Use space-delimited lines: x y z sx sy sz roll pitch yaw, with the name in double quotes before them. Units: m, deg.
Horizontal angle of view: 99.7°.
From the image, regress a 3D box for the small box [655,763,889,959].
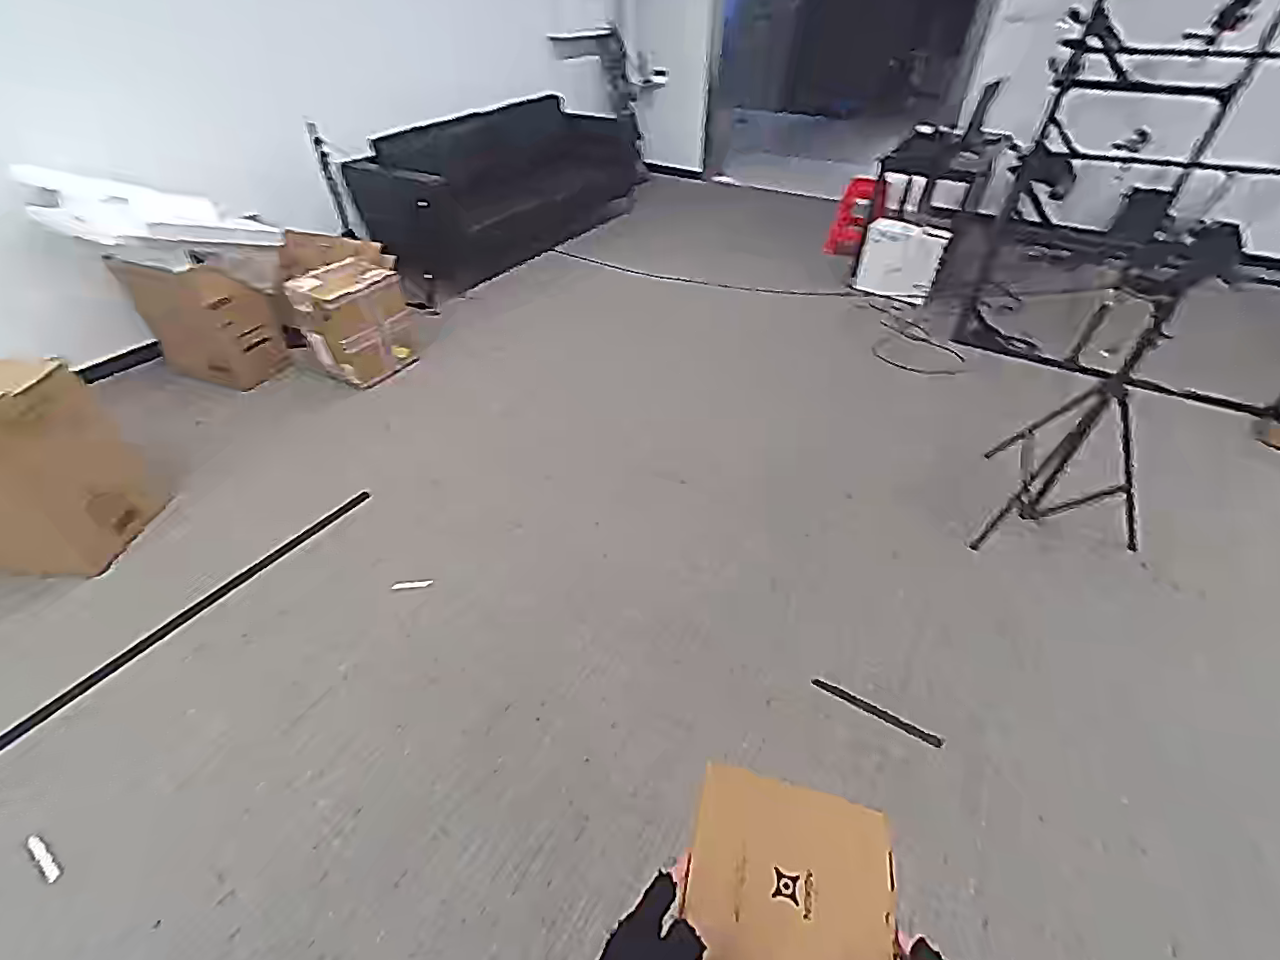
"small box" 0.120 0.407 0.521 0.179 0.176 0.168 12 44 9
